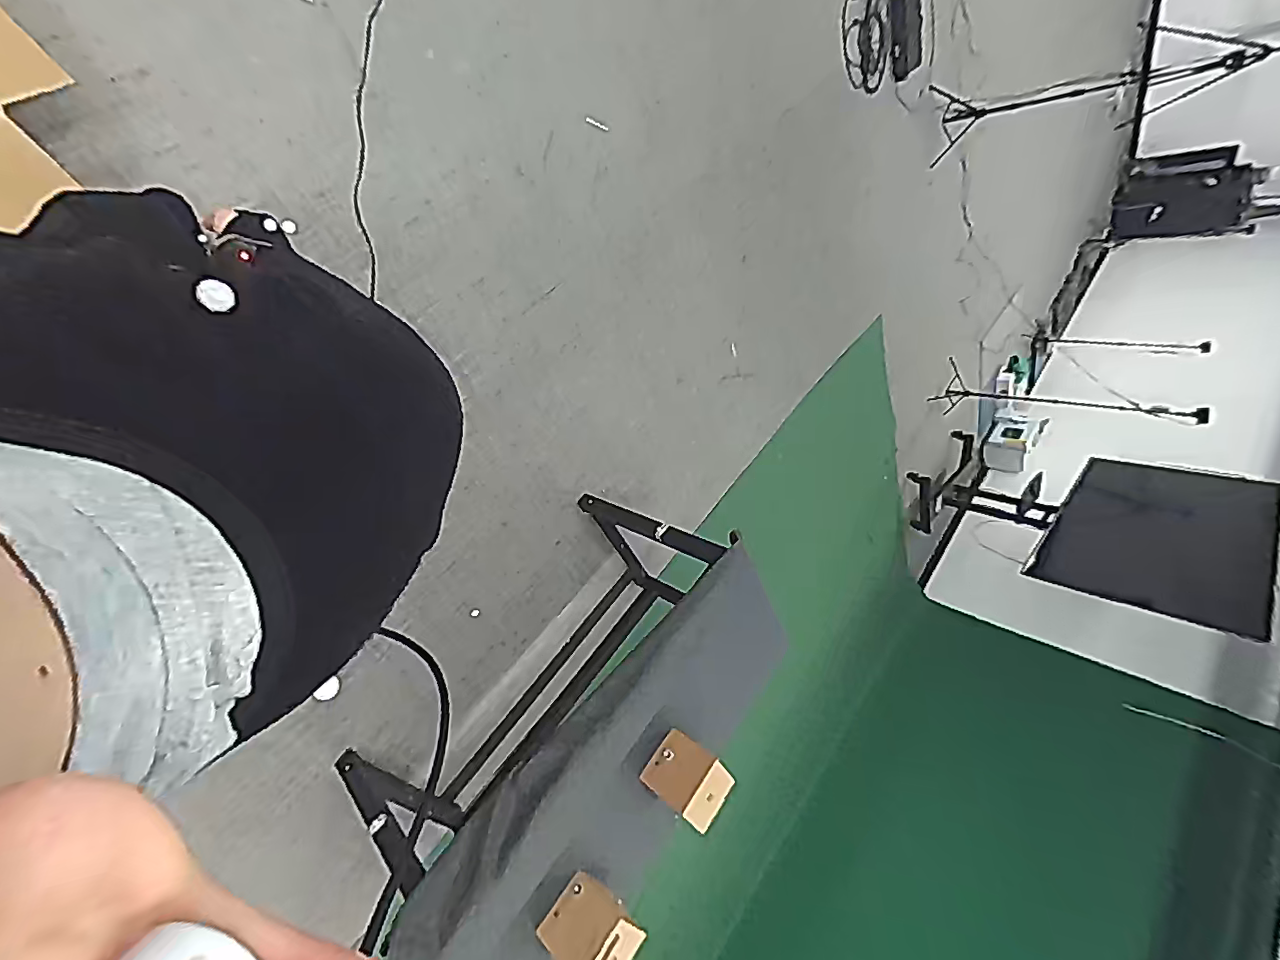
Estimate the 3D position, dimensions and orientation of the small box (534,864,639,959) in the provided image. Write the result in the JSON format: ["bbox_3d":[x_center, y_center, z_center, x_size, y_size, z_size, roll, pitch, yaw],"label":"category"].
[{"bbox_3d":[-0.138,1.130,1.382,0.168,0.176,0.179,-47,132,-24],"label":"small box"}]

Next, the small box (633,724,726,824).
[{"bbox_3d":[0.112,0.830,1.538,0.168,0.176,0.179,-50,132,-23],"label":"small box"}]
